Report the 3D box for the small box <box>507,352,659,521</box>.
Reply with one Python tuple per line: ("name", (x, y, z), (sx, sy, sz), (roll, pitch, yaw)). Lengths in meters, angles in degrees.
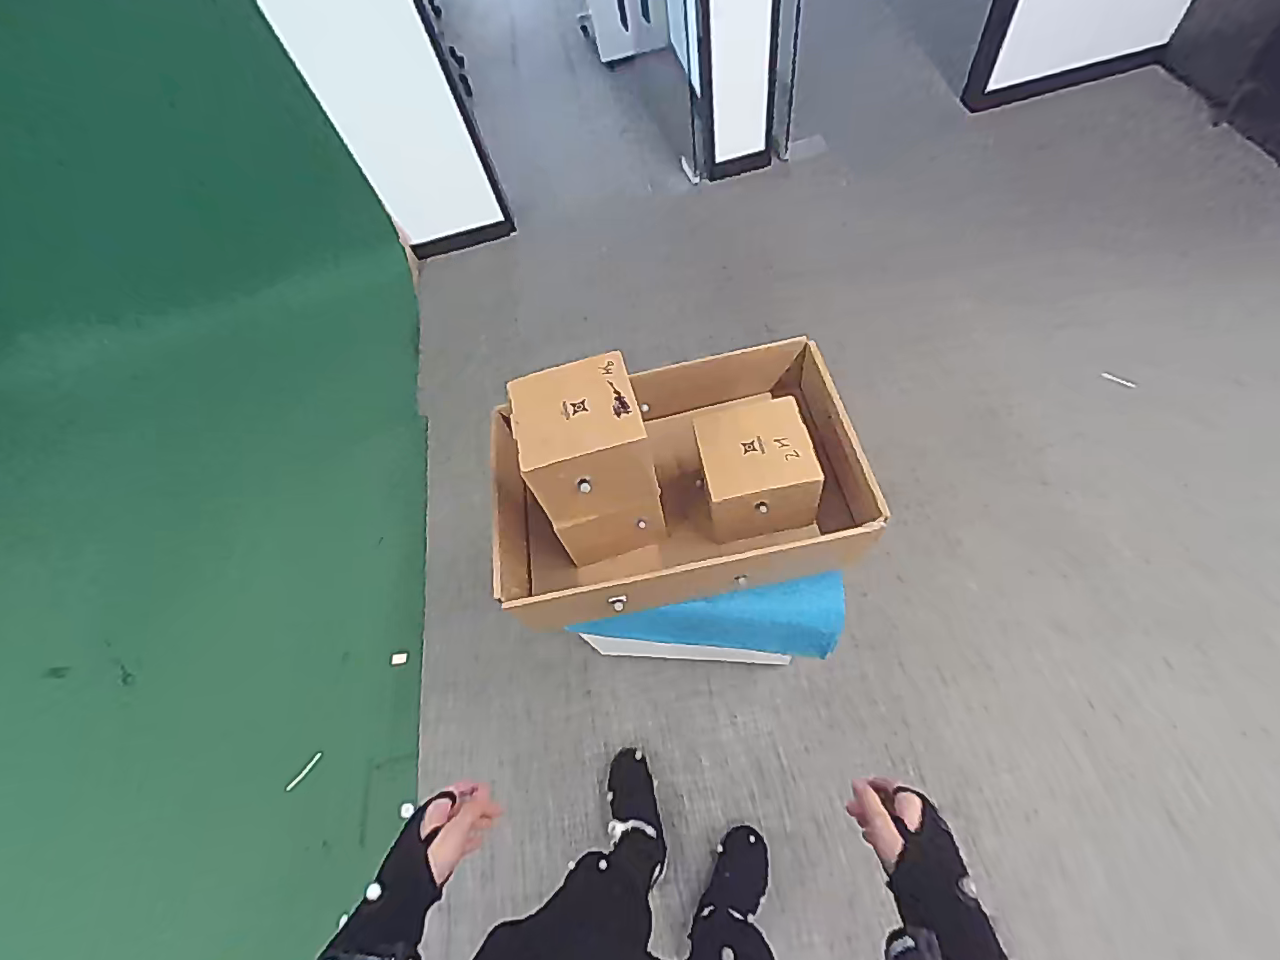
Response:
("small box", (-0.082, -0.057, 0.816), (0.179, 0.176, 0.168), (-16, 60, 0))
